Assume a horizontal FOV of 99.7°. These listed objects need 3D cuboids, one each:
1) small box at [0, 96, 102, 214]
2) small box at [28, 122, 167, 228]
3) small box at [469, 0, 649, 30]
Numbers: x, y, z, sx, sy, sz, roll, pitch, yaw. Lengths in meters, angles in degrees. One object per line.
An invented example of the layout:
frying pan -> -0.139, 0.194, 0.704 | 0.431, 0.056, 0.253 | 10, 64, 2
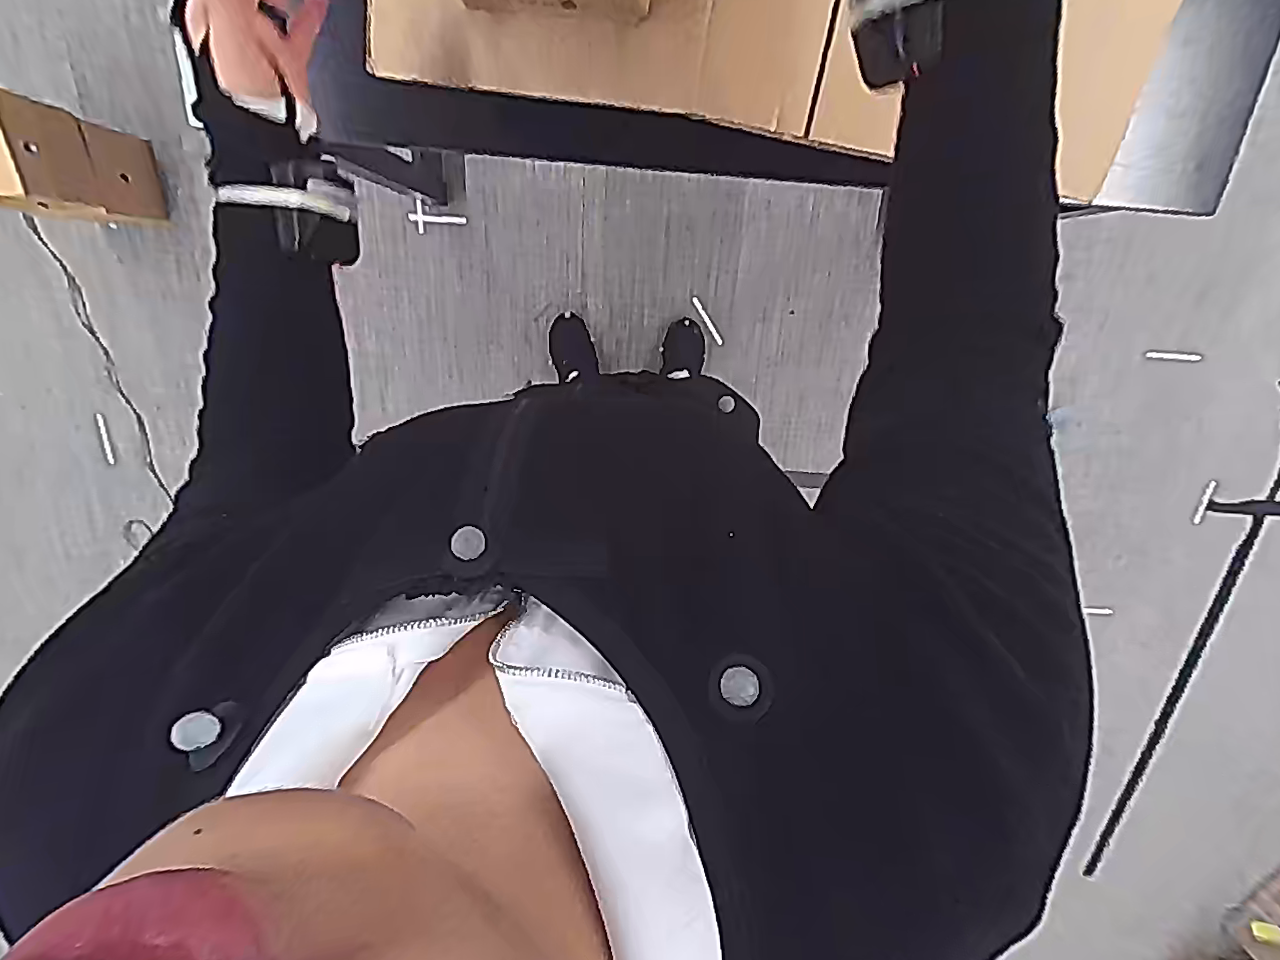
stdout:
small box -> -1.183, -0.604, 1.013 | 0.168, 0.176, 0.179 | -4, 108, -2
small box -> -1.188, -0.652, 1.168 | 0.168, 0.176, 0.179 | -1, 110, -2
small box -> -0.075, -0.442, 0.347 | 0.168, 0.176, 0.179 | 13, 108, 9
